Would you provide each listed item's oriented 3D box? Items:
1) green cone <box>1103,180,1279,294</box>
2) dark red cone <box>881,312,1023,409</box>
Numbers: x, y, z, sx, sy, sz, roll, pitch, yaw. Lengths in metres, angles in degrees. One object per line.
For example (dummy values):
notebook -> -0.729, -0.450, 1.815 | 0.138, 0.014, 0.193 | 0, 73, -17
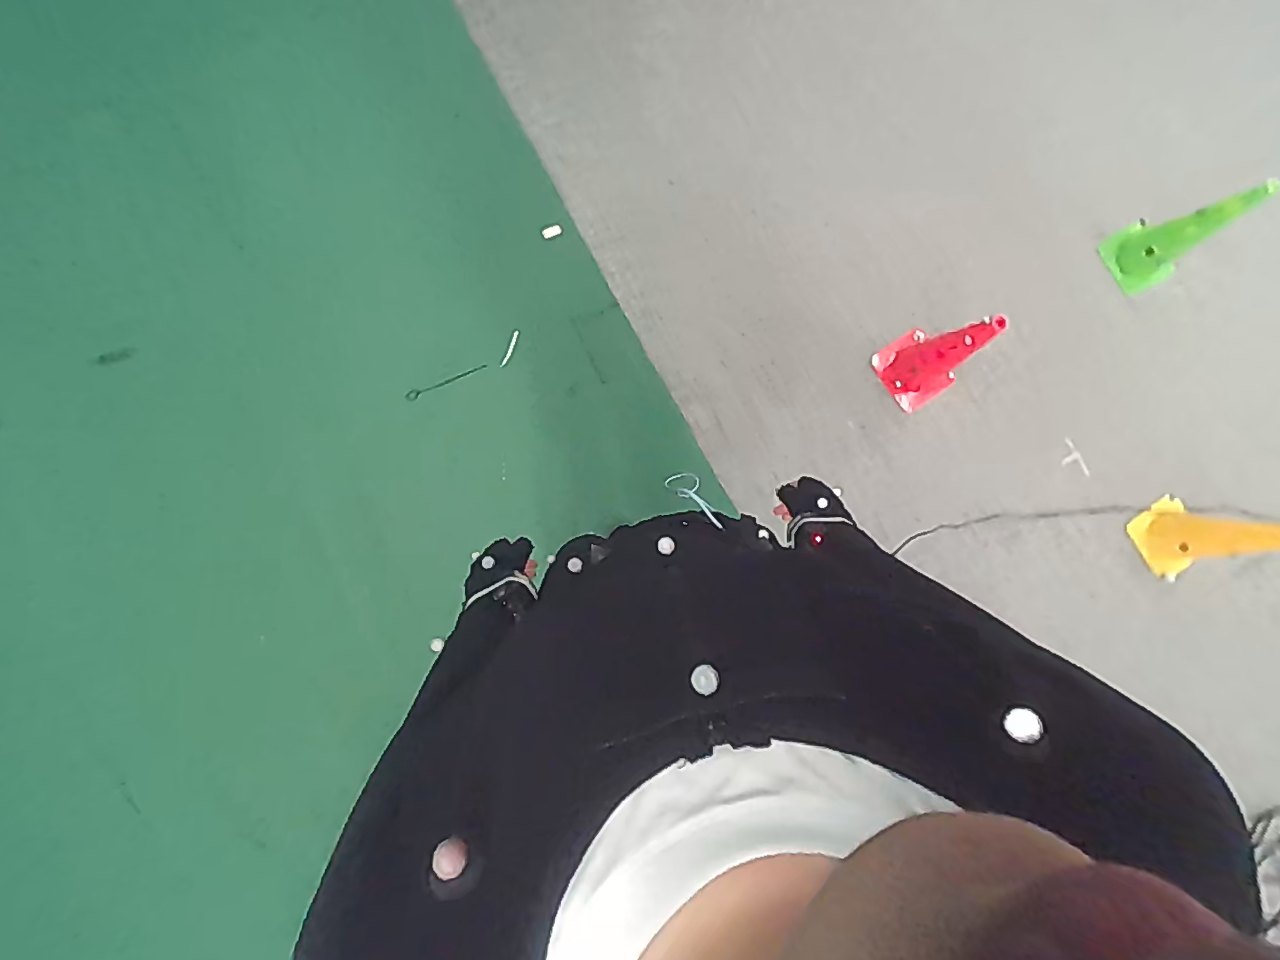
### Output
green cone -> 1.581, -0.718, 1.522 | 0.200, 0.368, 0.202 | -30, 88, -6
dark red cone -> 0.830, -0.344, 1.404 | 0.201, 0.394, 0.202 | -34, 87, -5
